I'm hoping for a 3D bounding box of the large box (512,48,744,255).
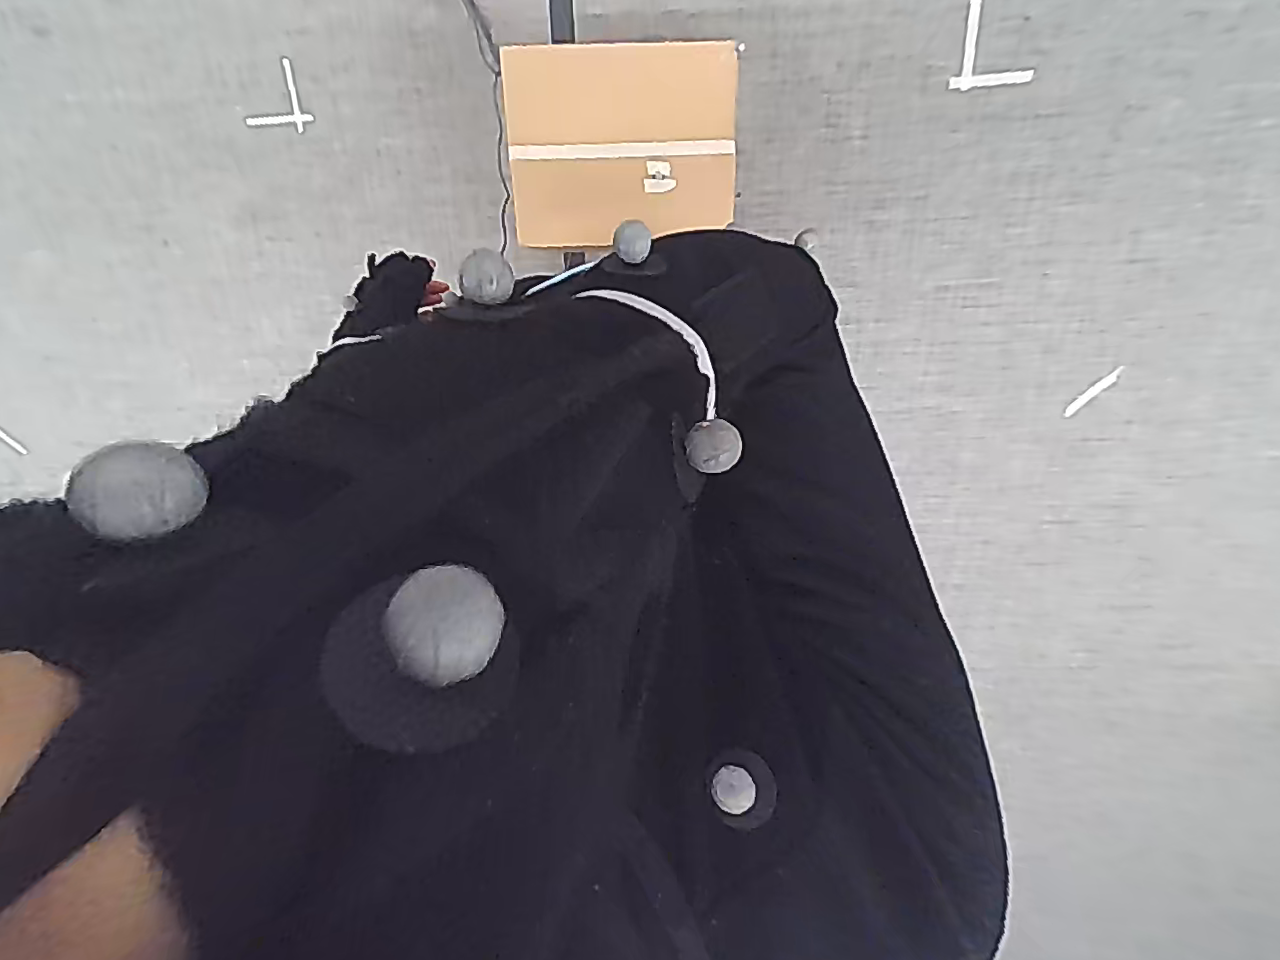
[{"bbox_3d":[-0.022,-0.640,1.111,0.408,0.320,0.320,-1,112,-1],"label":"large box"}]
